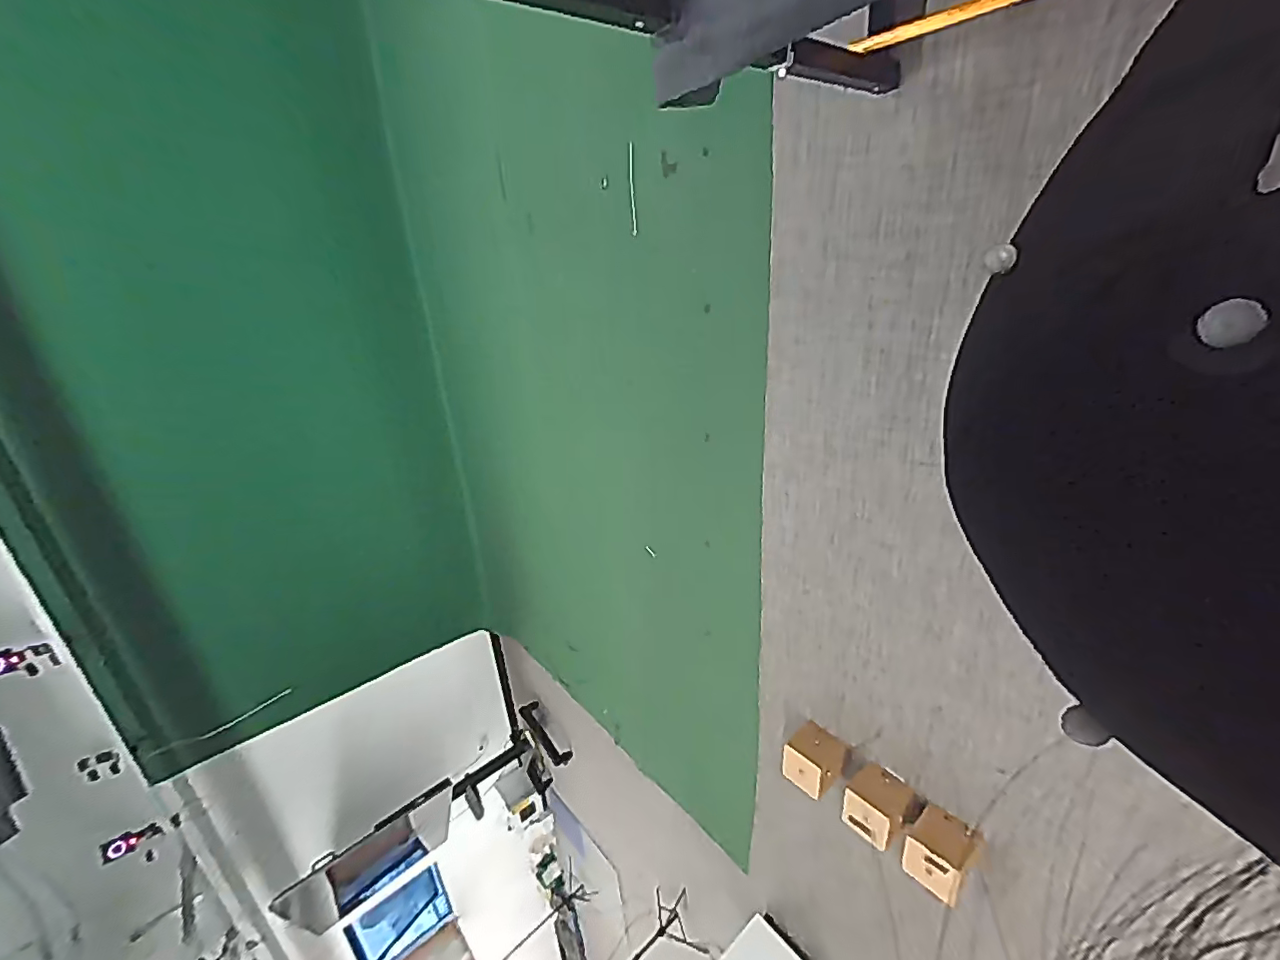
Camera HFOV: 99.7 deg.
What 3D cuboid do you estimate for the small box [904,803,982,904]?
[{"bbox_3d":[0.998,1.217,1.776,0.168,0.176,0.179,21,124,46],"label":"small box"}]

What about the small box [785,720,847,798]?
[{"bbox_3d":[0.693,1.089,2.125,0.168,0.176,0.179,24,125,47],"label":"small box"}]
